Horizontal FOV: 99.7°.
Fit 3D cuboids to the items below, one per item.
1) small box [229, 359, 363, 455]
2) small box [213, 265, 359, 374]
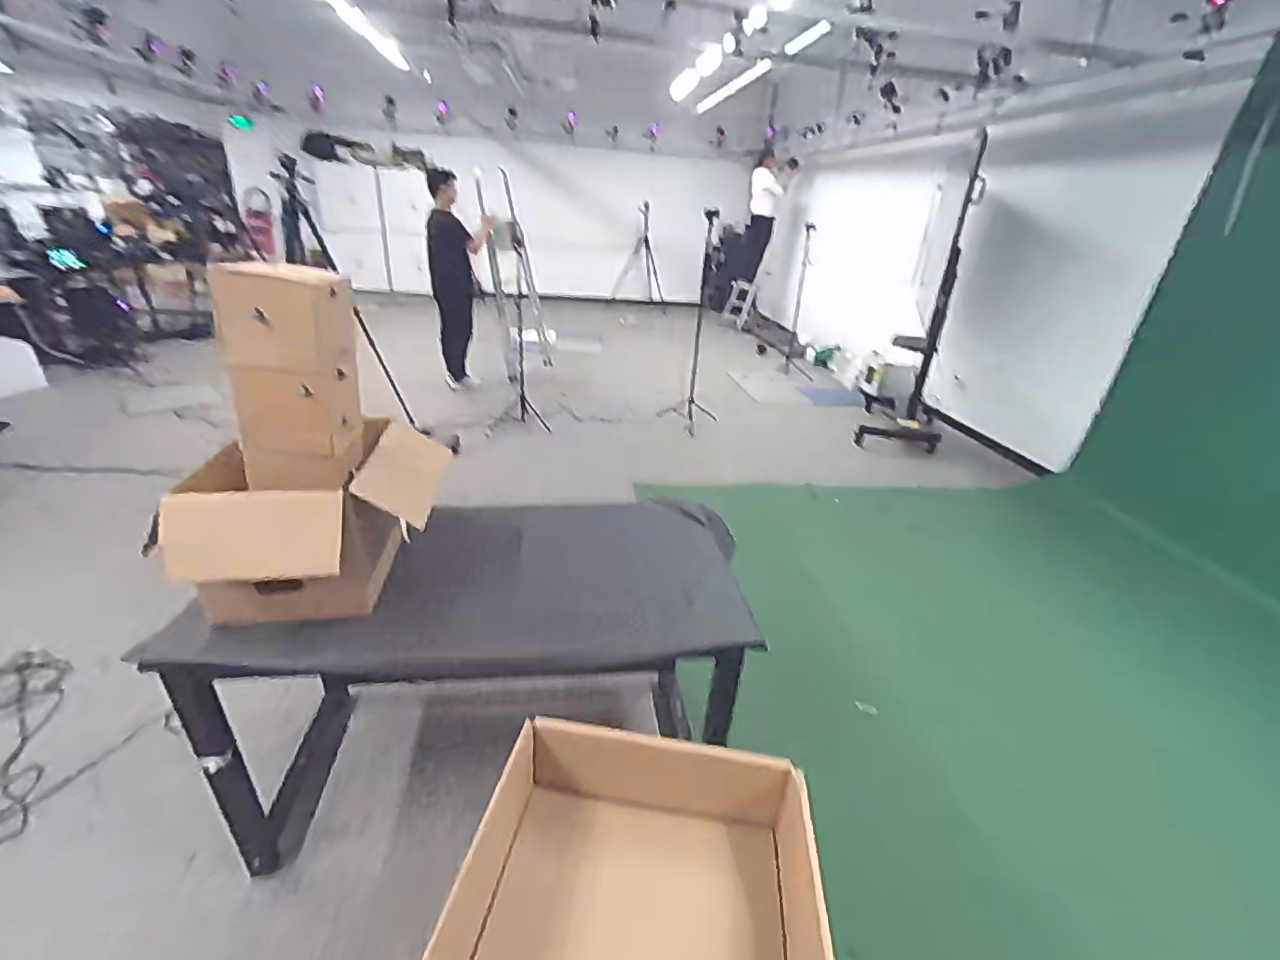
[{"bbox_3d":[-0.685,-0.158,1.100,0.179,0.176,0.168,5,24,-10],"label":"small box"},{"bbox_3d":[-0.662,-0.307,1.035,0.179,0.176,0.168,5,24,-8],"label":"small box"}]
